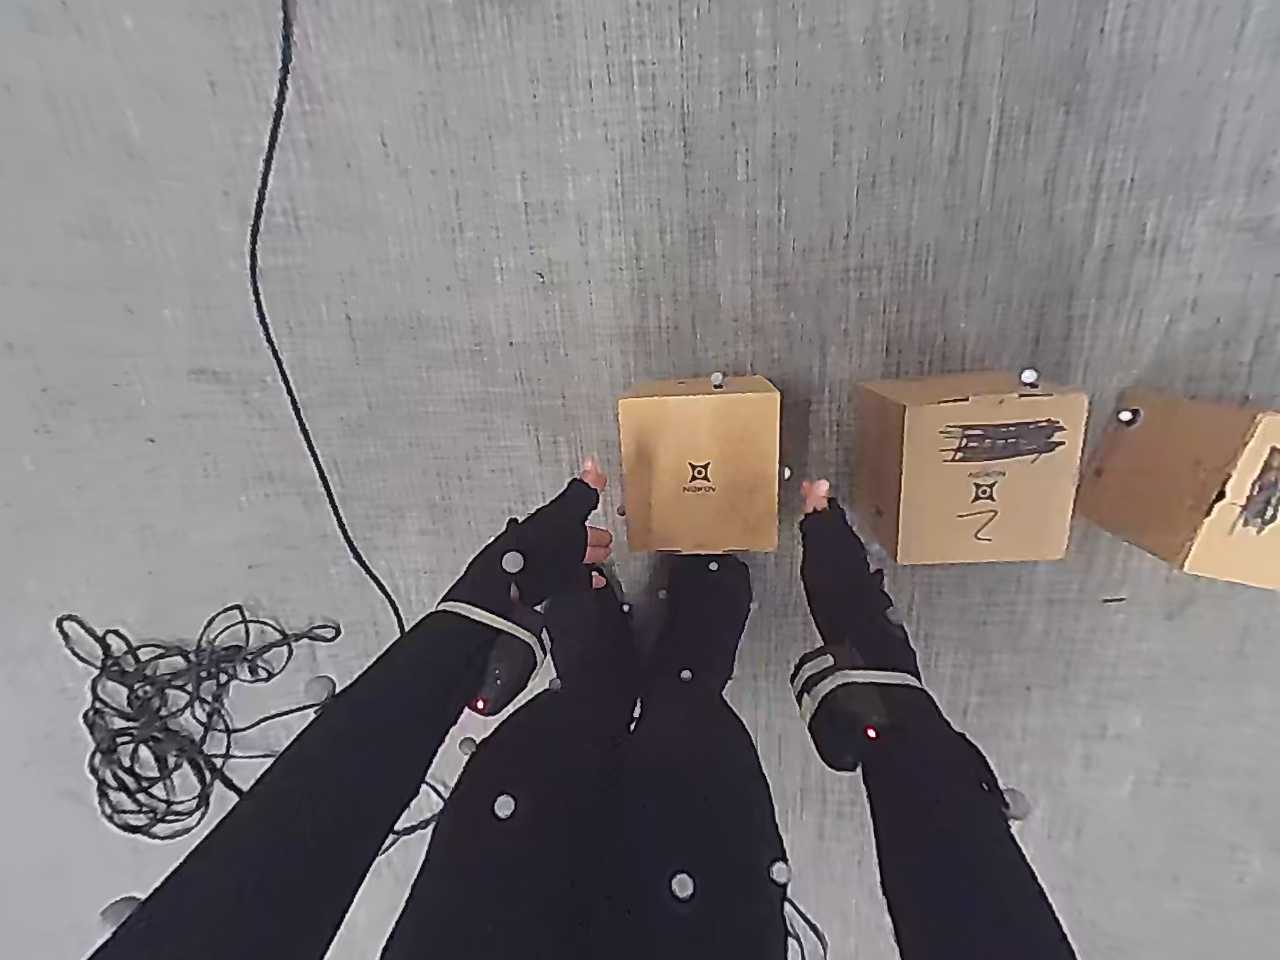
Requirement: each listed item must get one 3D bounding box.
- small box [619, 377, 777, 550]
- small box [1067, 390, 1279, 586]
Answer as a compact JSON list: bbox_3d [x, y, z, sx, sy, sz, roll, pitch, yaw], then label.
[{"bbox_3d":[0.068,-0.029,0.652,0.168,0.176,0.179,-2,107,6],"label":"small box"},{"bbox_3d":[0.636,0.002,0.599,0.179,0.176,0.168,11,108,1],"label":"small box"}]
